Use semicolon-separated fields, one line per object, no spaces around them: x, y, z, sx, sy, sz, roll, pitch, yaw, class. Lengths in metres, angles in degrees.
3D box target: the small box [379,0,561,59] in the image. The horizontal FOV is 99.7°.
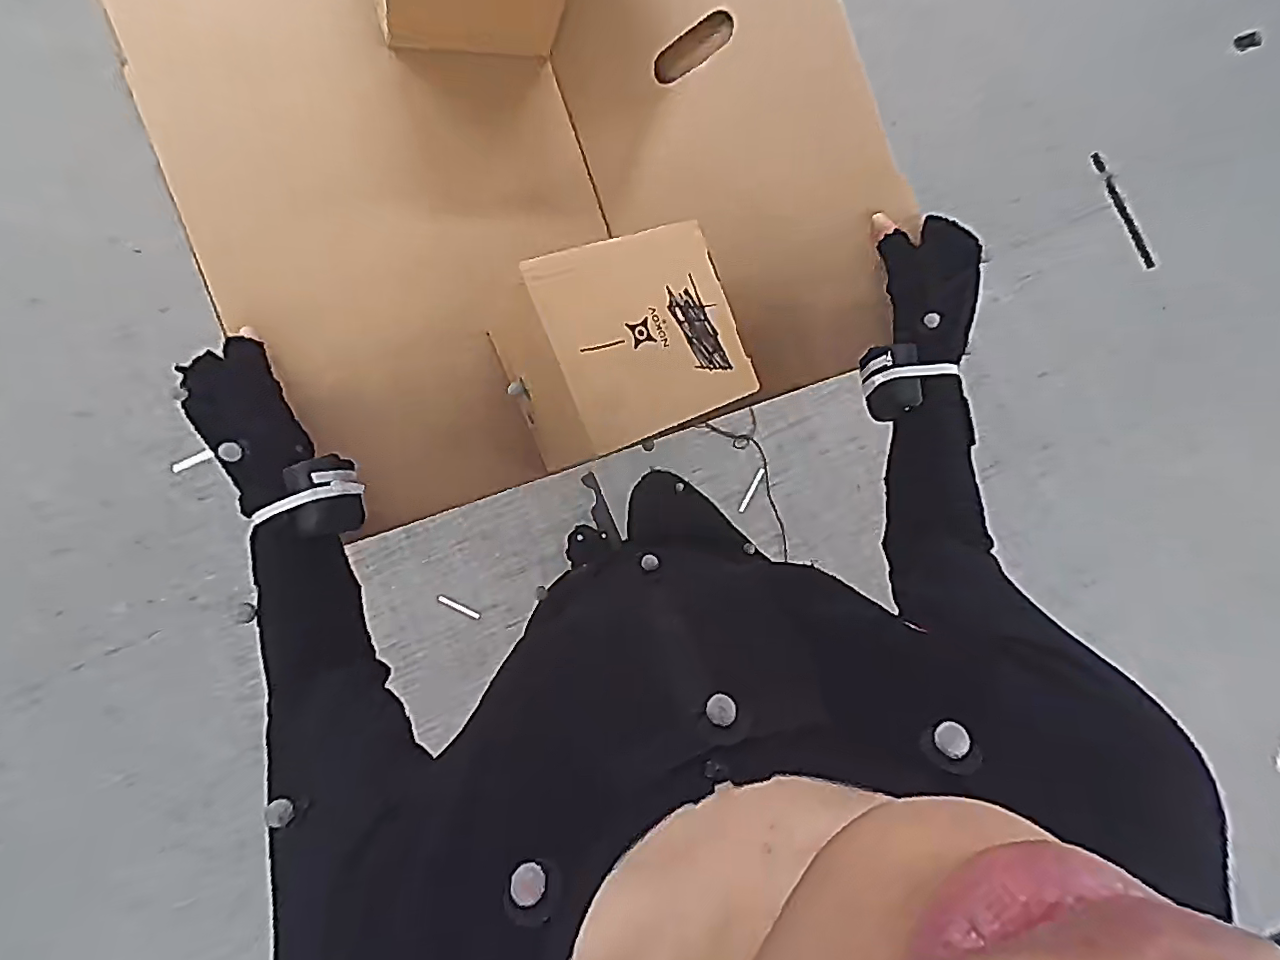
-0.169;-0.544;0.511;0.179;0.176;0.168;-15;92;-24;small box
